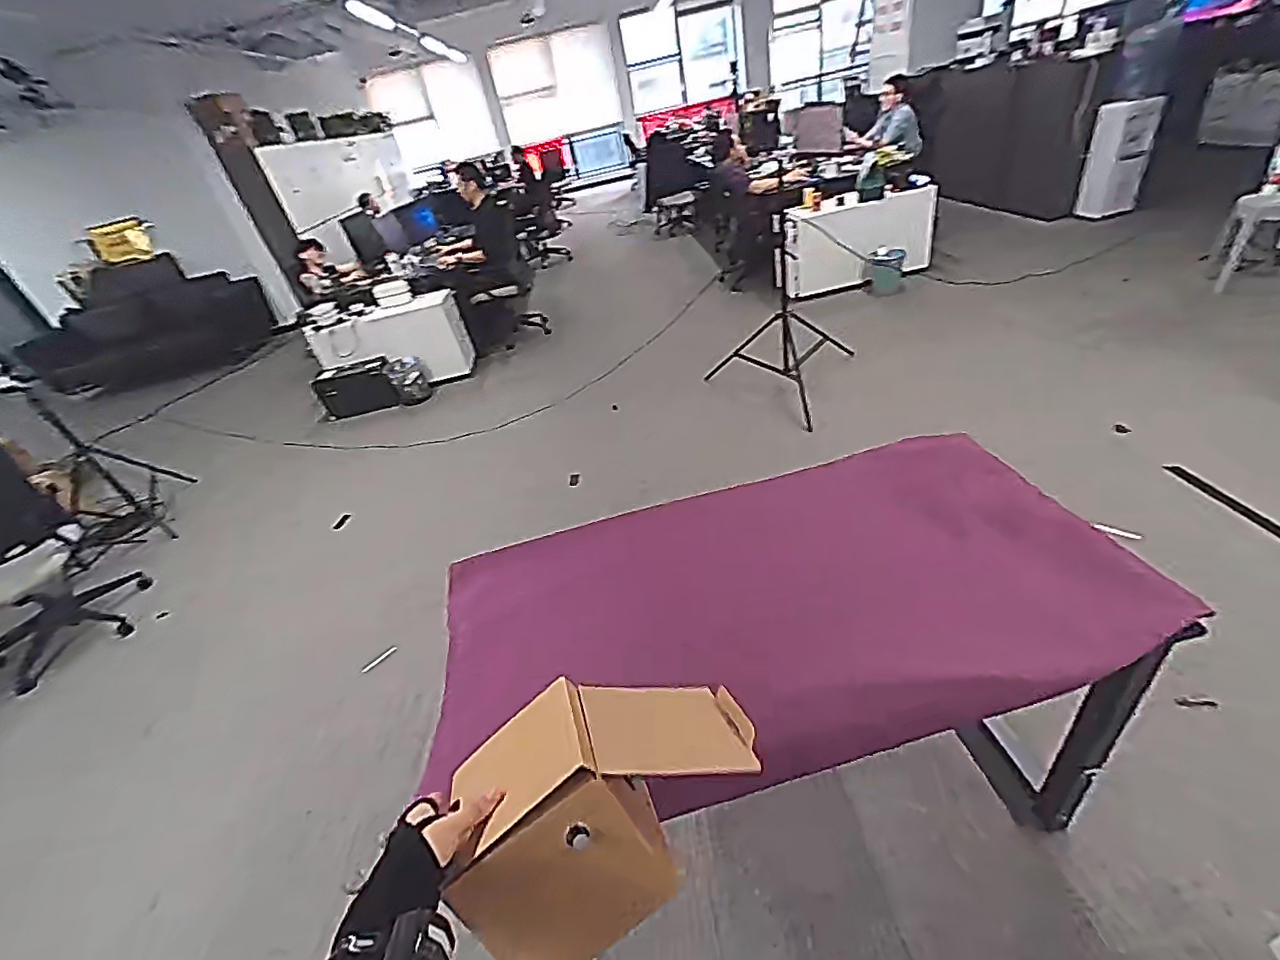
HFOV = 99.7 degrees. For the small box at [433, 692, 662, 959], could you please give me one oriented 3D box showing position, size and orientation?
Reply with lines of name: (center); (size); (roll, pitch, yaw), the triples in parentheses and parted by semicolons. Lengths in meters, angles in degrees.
small box: (-0.092, 0.381, 0.591); (0.179, 0.176, 0.168); (-32, 13, -7)
